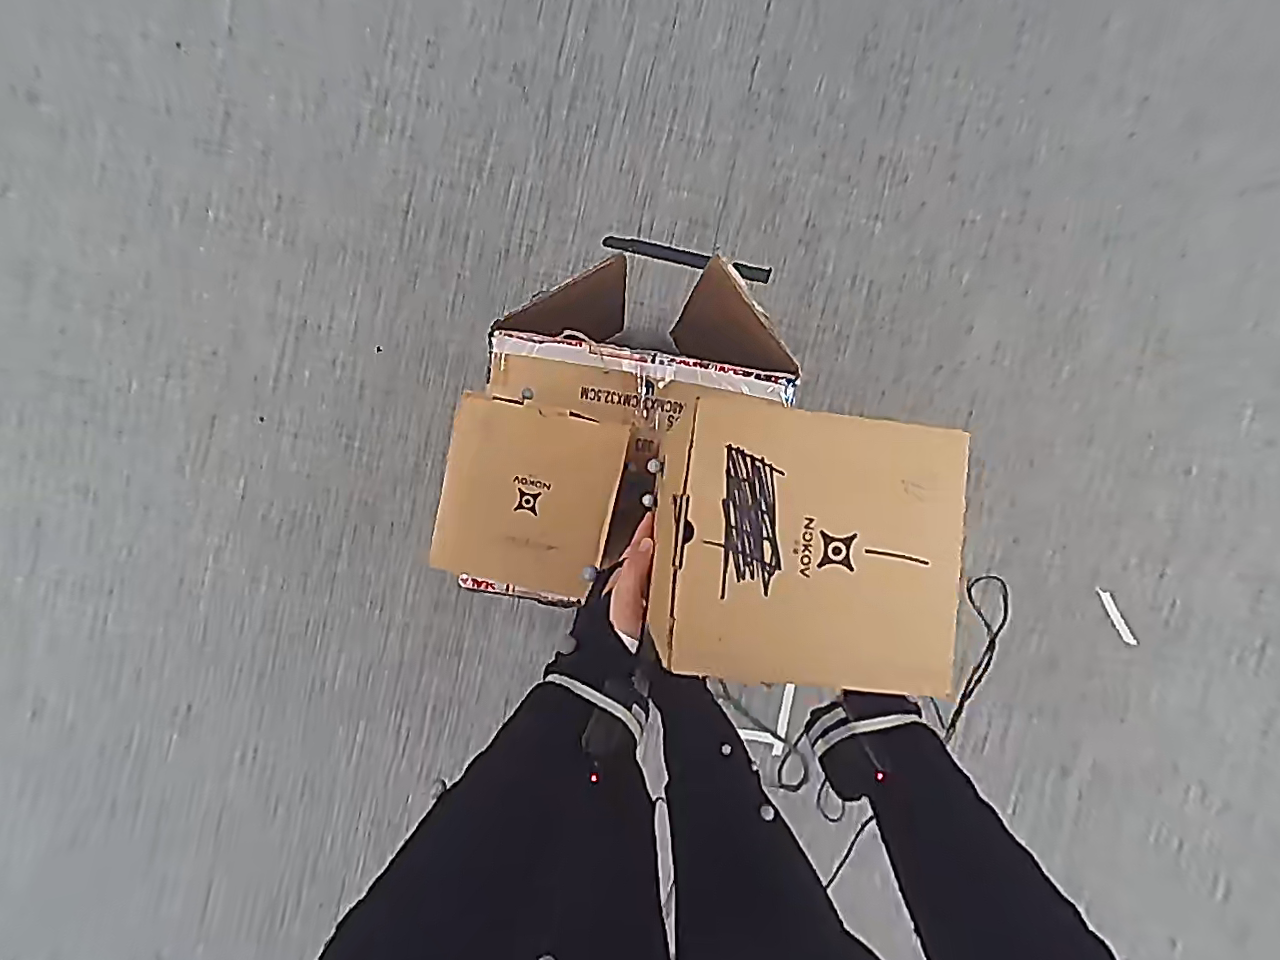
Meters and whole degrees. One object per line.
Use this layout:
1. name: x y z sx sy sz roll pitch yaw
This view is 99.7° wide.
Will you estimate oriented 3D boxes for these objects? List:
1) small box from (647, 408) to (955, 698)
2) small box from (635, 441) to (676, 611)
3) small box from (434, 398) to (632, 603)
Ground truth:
1. small box: 0.103 0.051 0.416 0.179 0.176 0.168 7 86 -4
2. small box: 0.095 0.057 0.582 0.179 0.176 0.168 6 86 -4
3. small box: -0.106 0.014 0.604 0.168 0.176 0.179 12 96 -1
